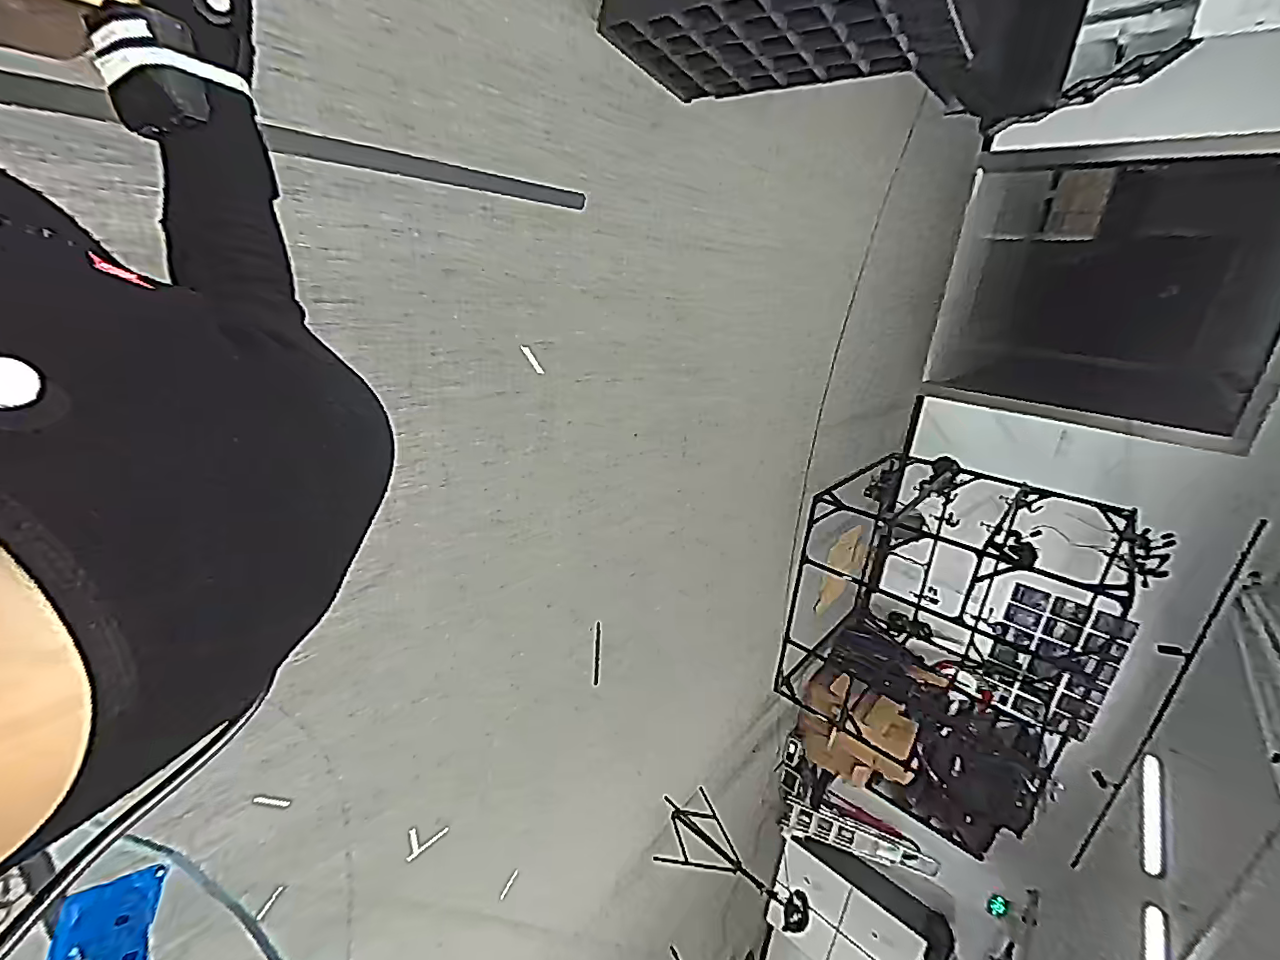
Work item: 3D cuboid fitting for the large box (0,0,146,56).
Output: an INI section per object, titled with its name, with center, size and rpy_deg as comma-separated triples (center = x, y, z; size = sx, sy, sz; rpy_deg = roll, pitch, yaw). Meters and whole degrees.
[large box]
center = -0.569, -0.465, 0.255
size = 0.408, 0.320, 0.320
rpy_deg = -21, 126, -49

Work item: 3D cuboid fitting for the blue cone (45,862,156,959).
[blue cone]
center = -1.238, 1.136, 1.273
size = 0.193, 0.380, 0.192
rpy_deg = 13, 96, -54
